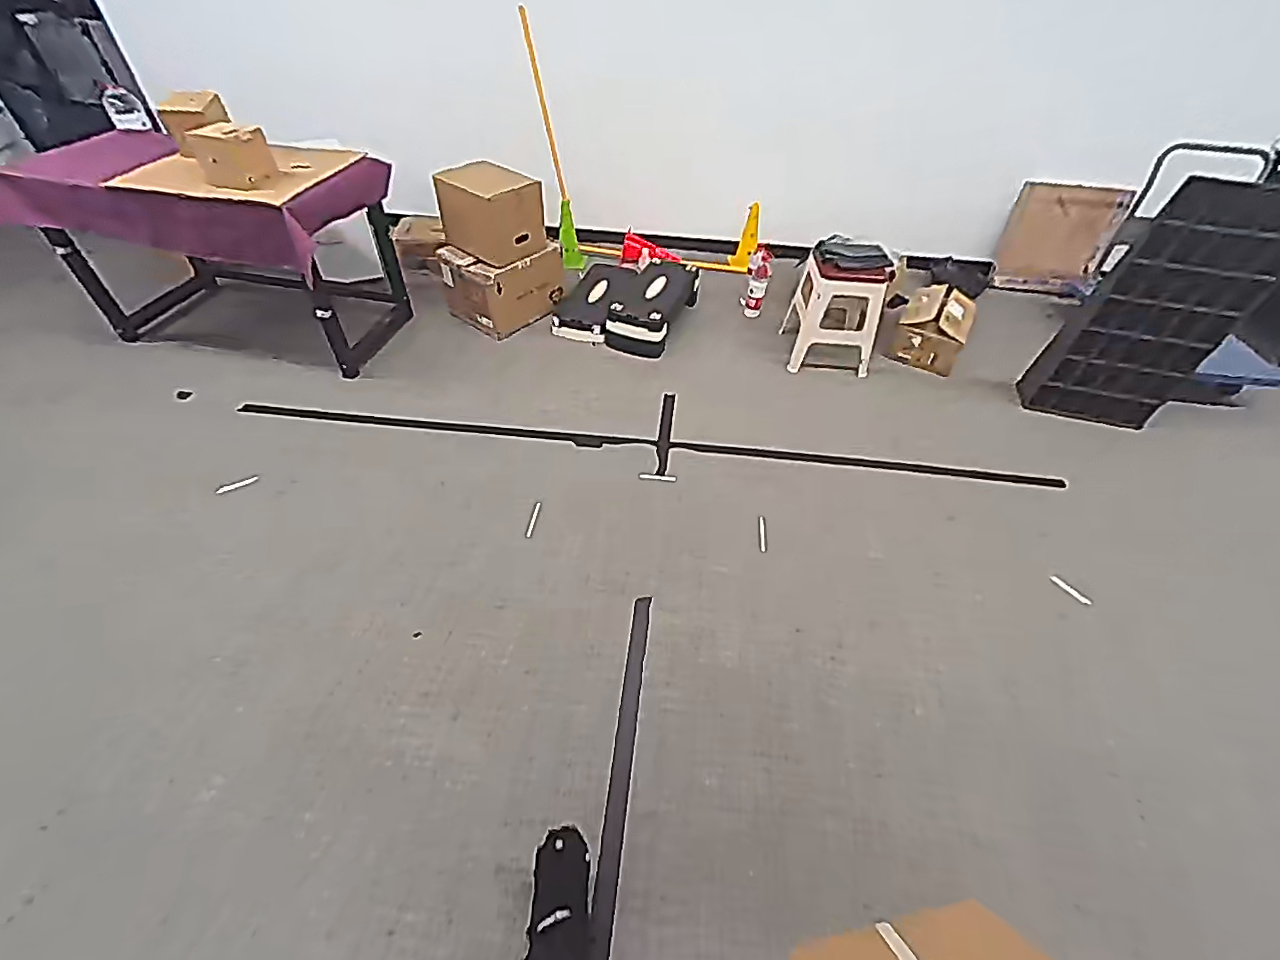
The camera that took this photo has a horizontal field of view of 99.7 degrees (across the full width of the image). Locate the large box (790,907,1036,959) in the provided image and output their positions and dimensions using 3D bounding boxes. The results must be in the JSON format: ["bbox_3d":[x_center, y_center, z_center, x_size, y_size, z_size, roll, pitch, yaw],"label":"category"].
[{"bbox_3d":[0.409,0.793,0.604,0.320,0.408,0.320,-13,80,-4],"label":"large box"}]
